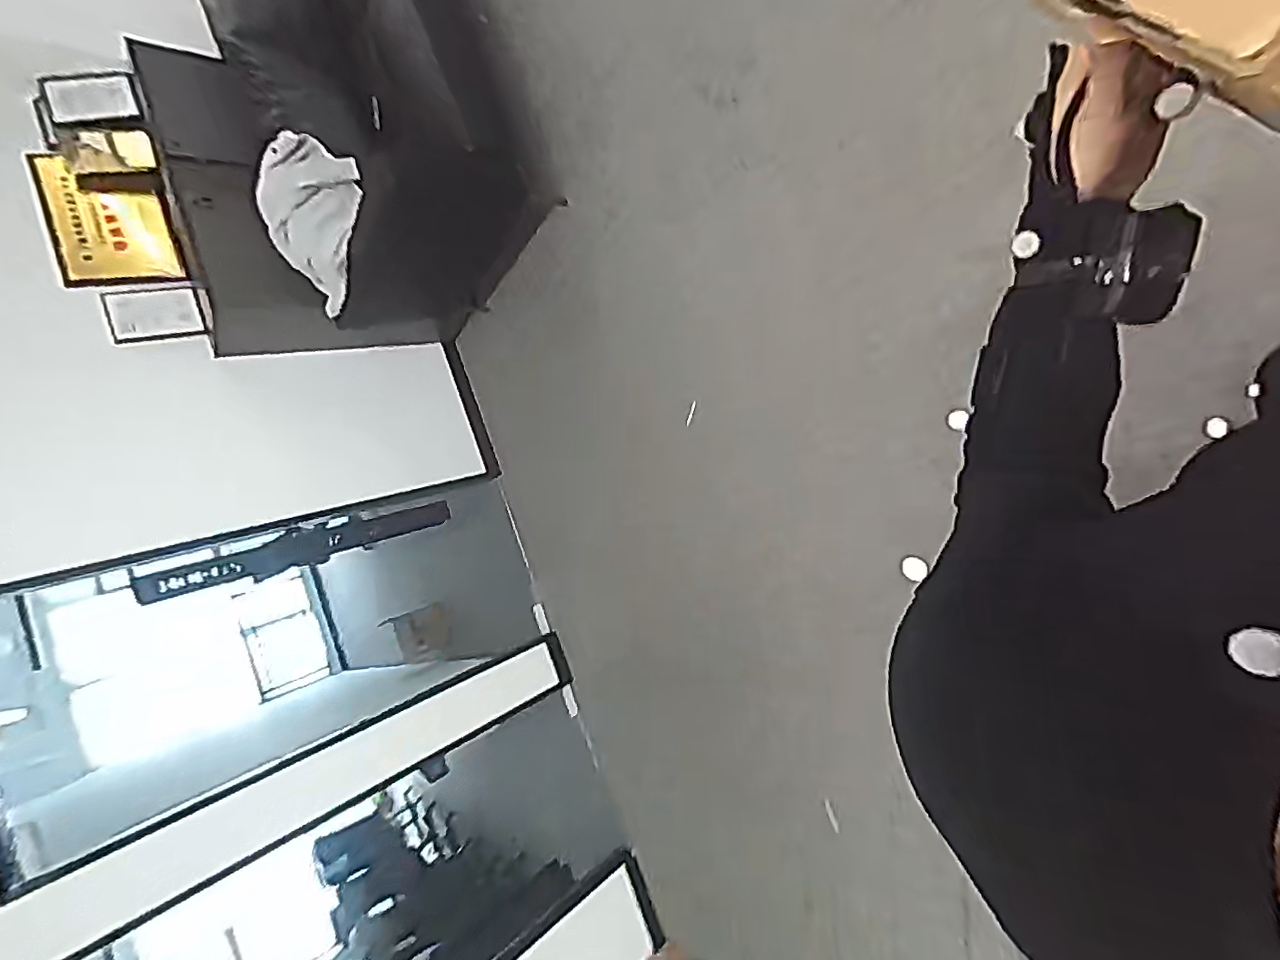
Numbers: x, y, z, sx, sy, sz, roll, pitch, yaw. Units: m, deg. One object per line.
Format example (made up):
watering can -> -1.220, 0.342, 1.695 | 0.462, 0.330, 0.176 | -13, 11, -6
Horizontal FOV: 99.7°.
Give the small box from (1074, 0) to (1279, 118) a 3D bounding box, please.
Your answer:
small box -> 0.291, -0.243, 0.189 | 0.179, 0.176, 0.168 | 121, 146, -46
